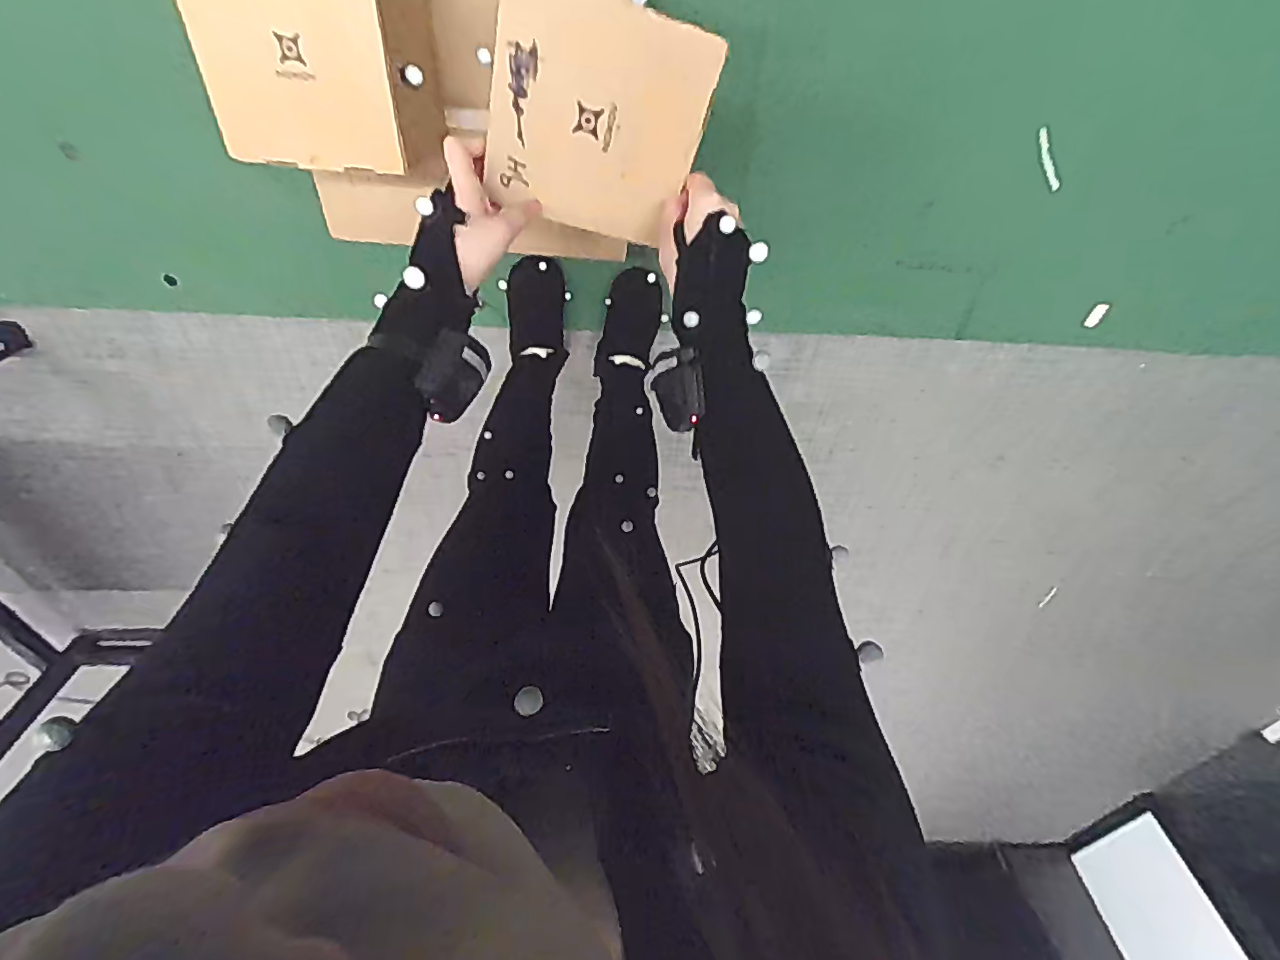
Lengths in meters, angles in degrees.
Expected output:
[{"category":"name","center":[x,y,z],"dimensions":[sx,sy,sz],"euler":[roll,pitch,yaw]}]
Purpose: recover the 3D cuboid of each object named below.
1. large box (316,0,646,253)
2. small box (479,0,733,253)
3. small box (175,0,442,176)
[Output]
[{"category":"large box","center":[-0.206,-0.531,0.755],"dimensions":[0.408,0.320,0.320],"euler":[2,130,-4]},{"category":"small box","center":[-0.041,-0.339,0.496],"dimensions":[0.179,0.176,0.168],"euler":[9,130,-15]},{"category":"small box","center":[-0.306,-0.418,0.530],"dimensions":[0.168,0.176,0.179],"euler":[3,129,-4]}]
